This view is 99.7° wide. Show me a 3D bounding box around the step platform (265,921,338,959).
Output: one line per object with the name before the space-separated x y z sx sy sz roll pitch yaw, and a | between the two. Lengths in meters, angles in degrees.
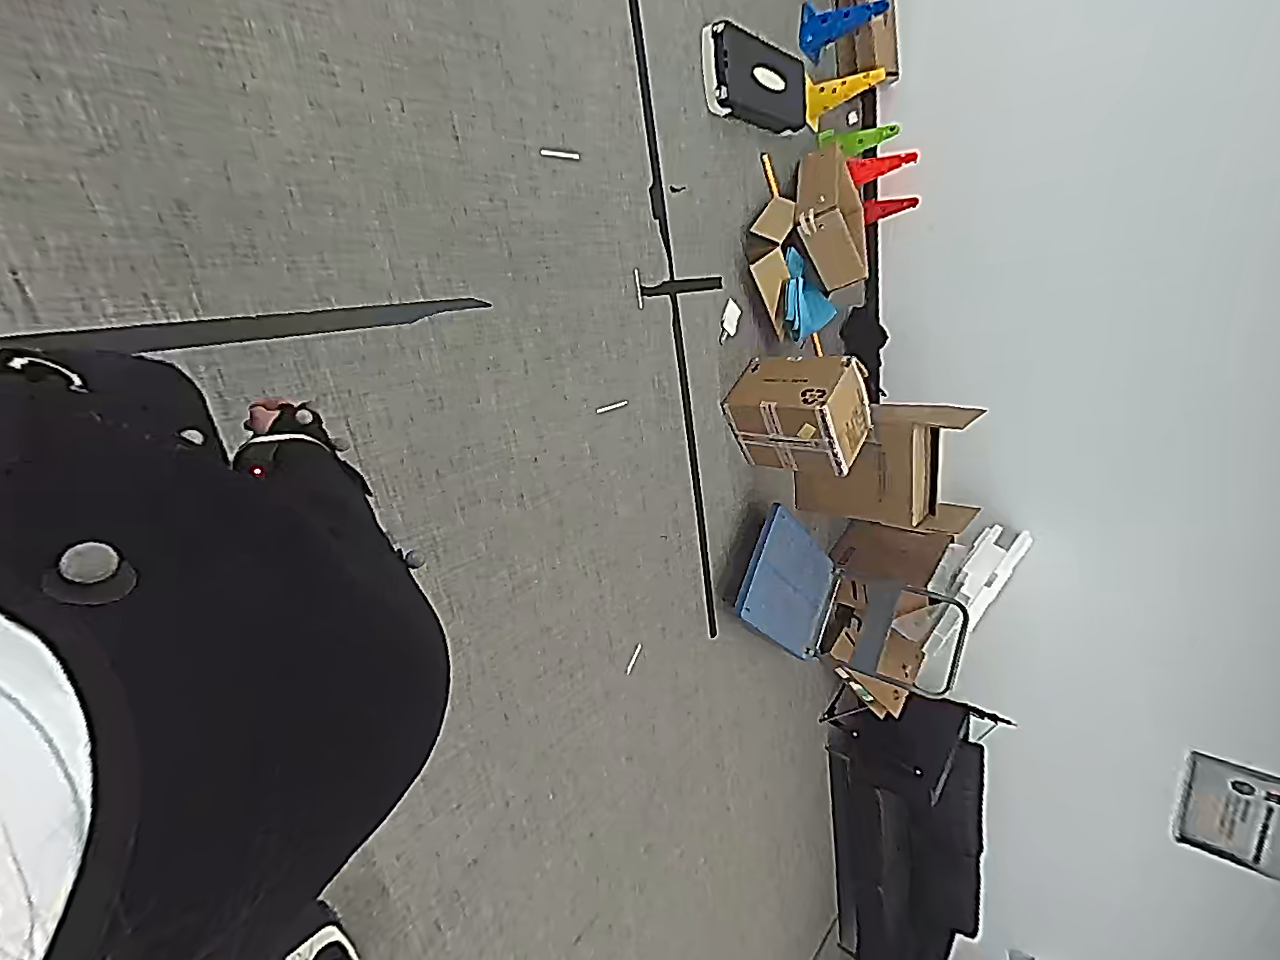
step platform | -0.967 1.332 1.115 0.684 0.204 0.286 -26 116 -44
